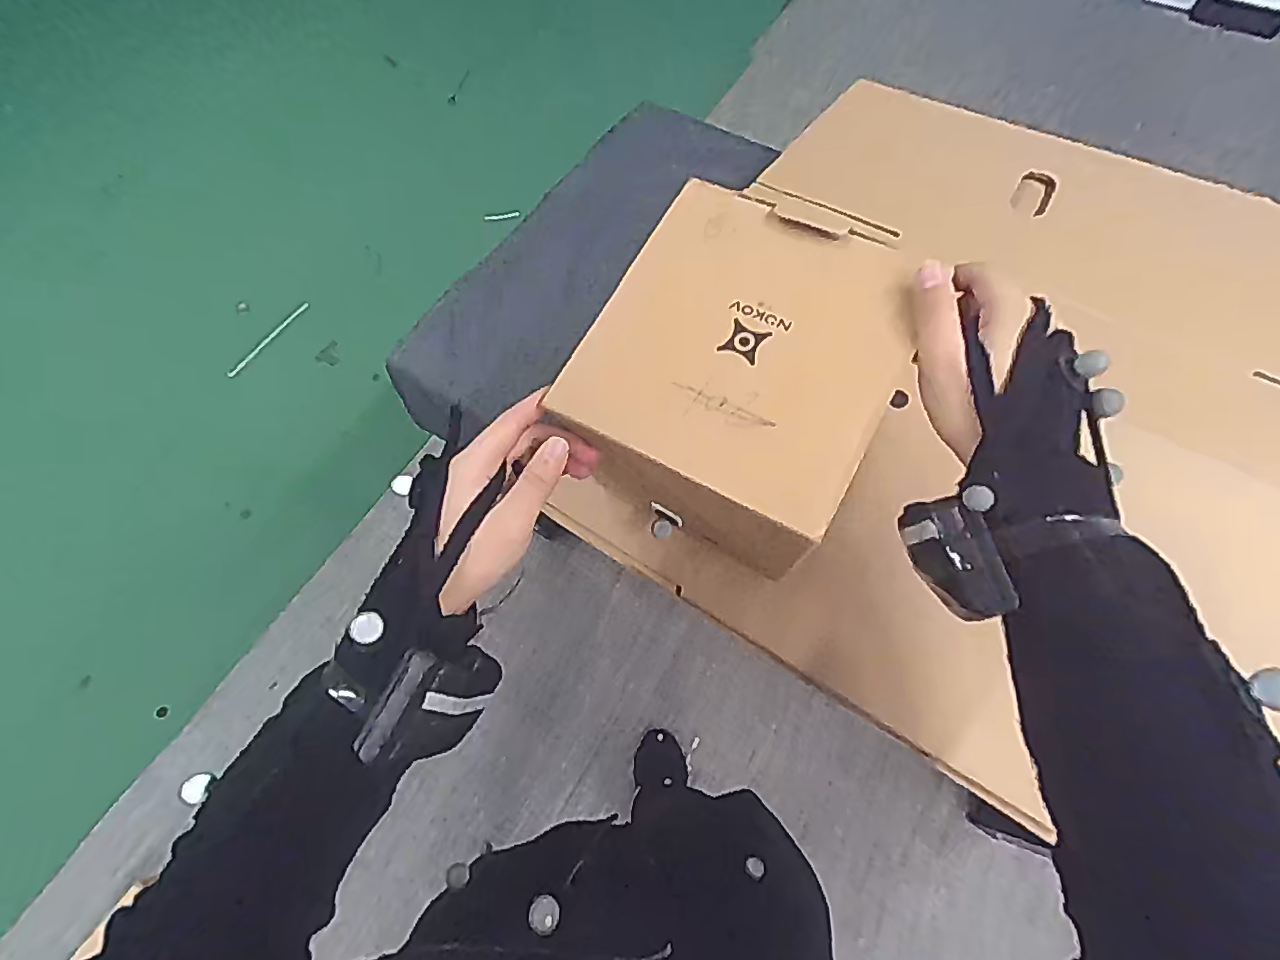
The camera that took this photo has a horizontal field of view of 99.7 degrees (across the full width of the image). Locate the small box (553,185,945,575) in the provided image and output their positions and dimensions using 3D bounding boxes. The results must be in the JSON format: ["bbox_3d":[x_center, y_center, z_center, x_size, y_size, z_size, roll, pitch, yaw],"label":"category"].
[{"bbox_3d":[0.069,-0.054,0.379,0.168,0.176,0.179,27,78,15],"label":"small box"}]

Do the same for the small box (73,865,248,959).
[{"bbox_3d":[-0.878,0.862,0.999,0.168,0.176,0.179,32,73,16],"label":"small box"}]
